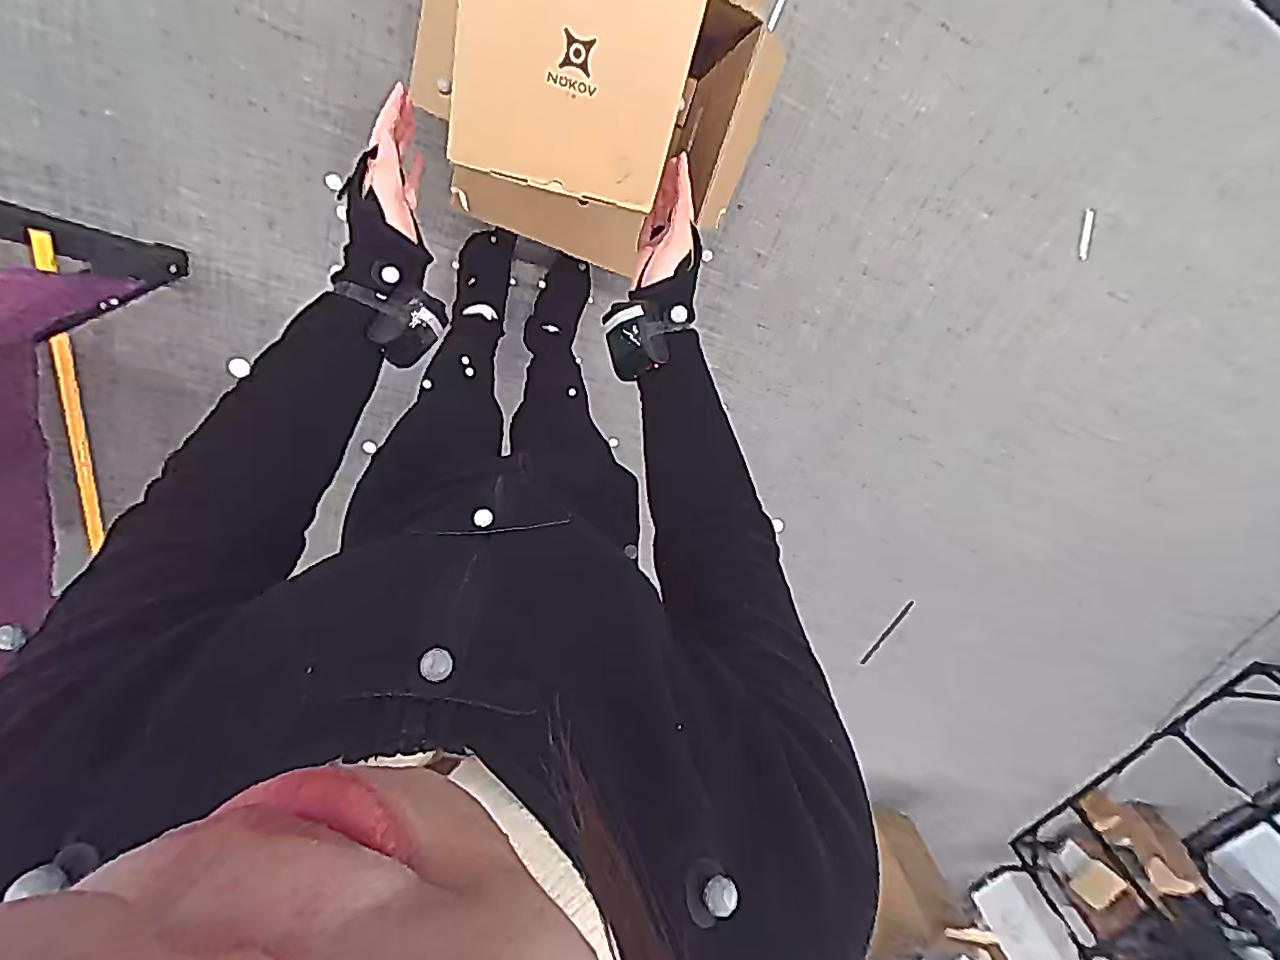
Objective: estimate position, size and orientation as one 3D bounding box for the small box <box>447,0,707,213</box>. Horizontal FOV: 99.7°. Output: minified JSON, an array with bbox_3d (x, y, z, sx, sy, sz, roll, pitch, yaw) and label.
[{"bbox_3d":[-0.061,-0.351,0.446,0.168,0.176,0.179,5,126,-19],"label":"small box"}]
